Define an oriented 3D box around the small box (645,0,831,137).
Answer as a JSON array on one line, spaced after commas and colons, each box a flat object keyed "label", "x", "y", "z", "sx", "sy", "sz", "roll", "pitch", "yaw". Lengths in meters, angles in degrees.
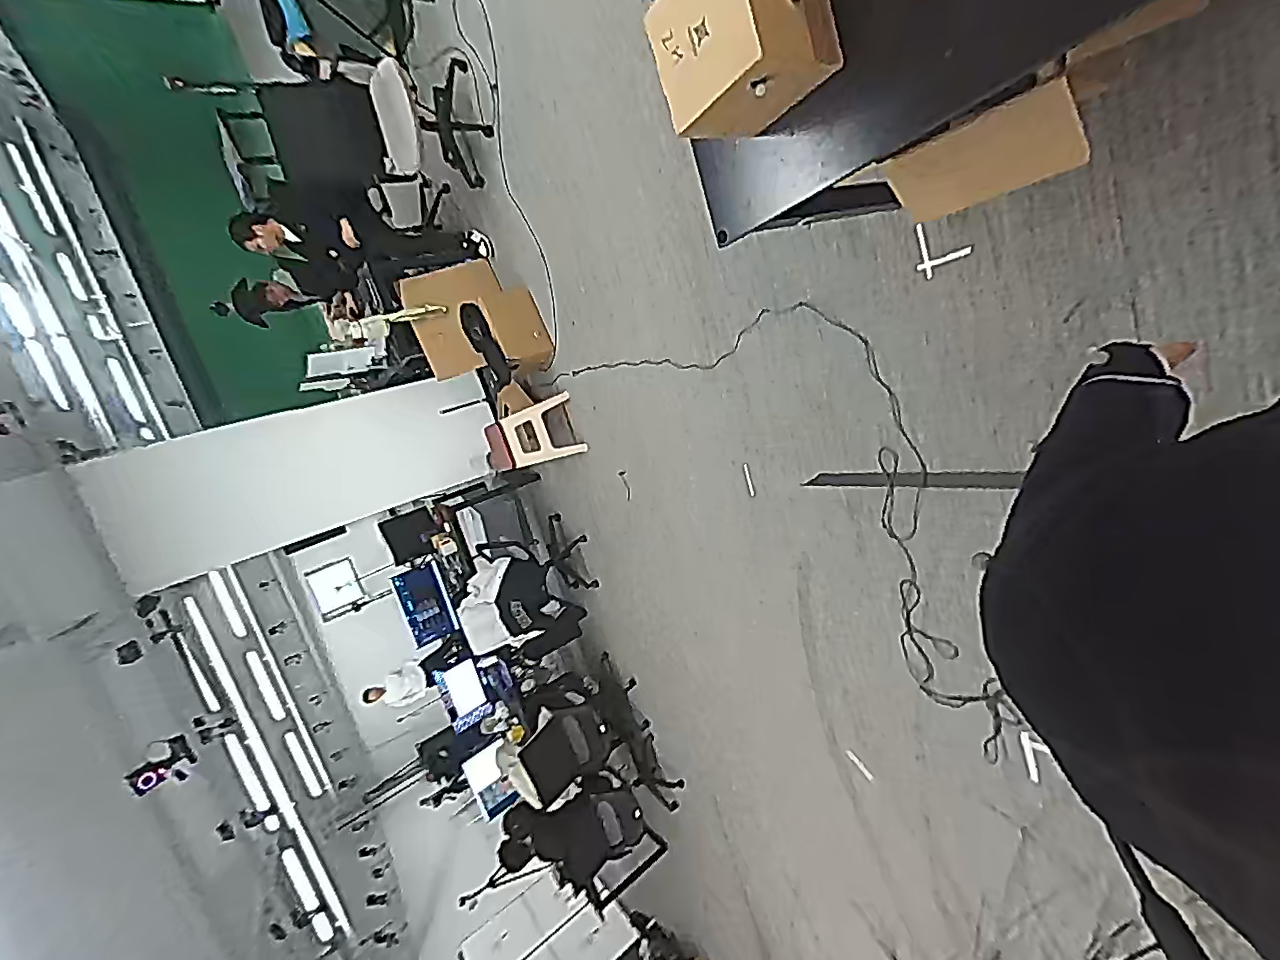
[{"label": "small box", "x": 0.140, "y": -0.607, "z": 0.746, "sx": 0.179, "sy": 0.176, "sz": 0.168, "roll": -4, "pitch": 106, "yaw": 57}]
